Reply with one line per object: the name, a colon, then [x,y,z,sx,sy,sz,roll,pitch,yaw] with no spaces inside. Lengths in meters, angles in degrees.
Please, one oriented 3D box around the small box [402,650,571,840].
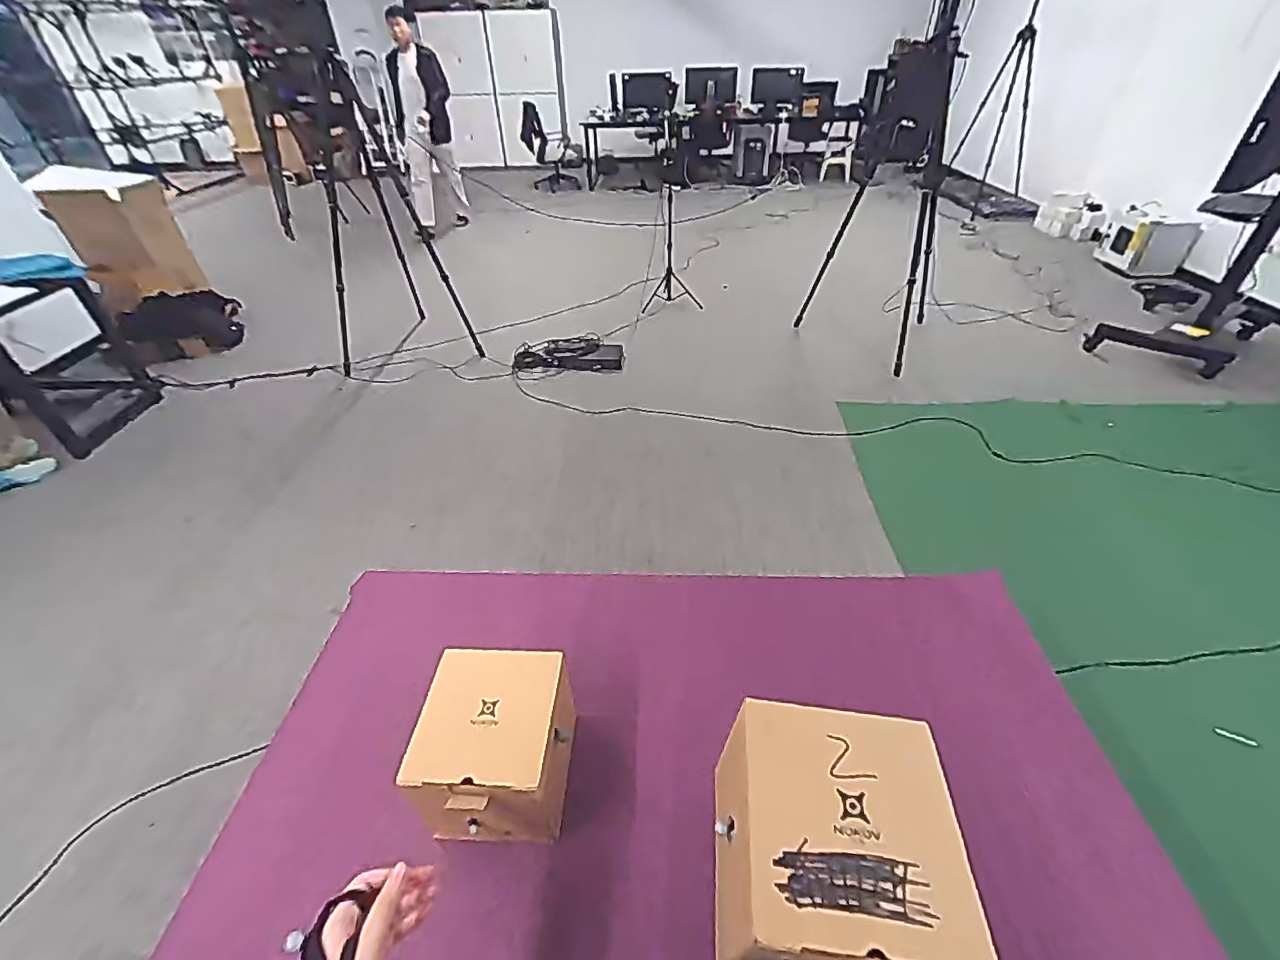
small box: [-0.190,0.356,0.733,0.168,0.176,0.179,1,40,3]
